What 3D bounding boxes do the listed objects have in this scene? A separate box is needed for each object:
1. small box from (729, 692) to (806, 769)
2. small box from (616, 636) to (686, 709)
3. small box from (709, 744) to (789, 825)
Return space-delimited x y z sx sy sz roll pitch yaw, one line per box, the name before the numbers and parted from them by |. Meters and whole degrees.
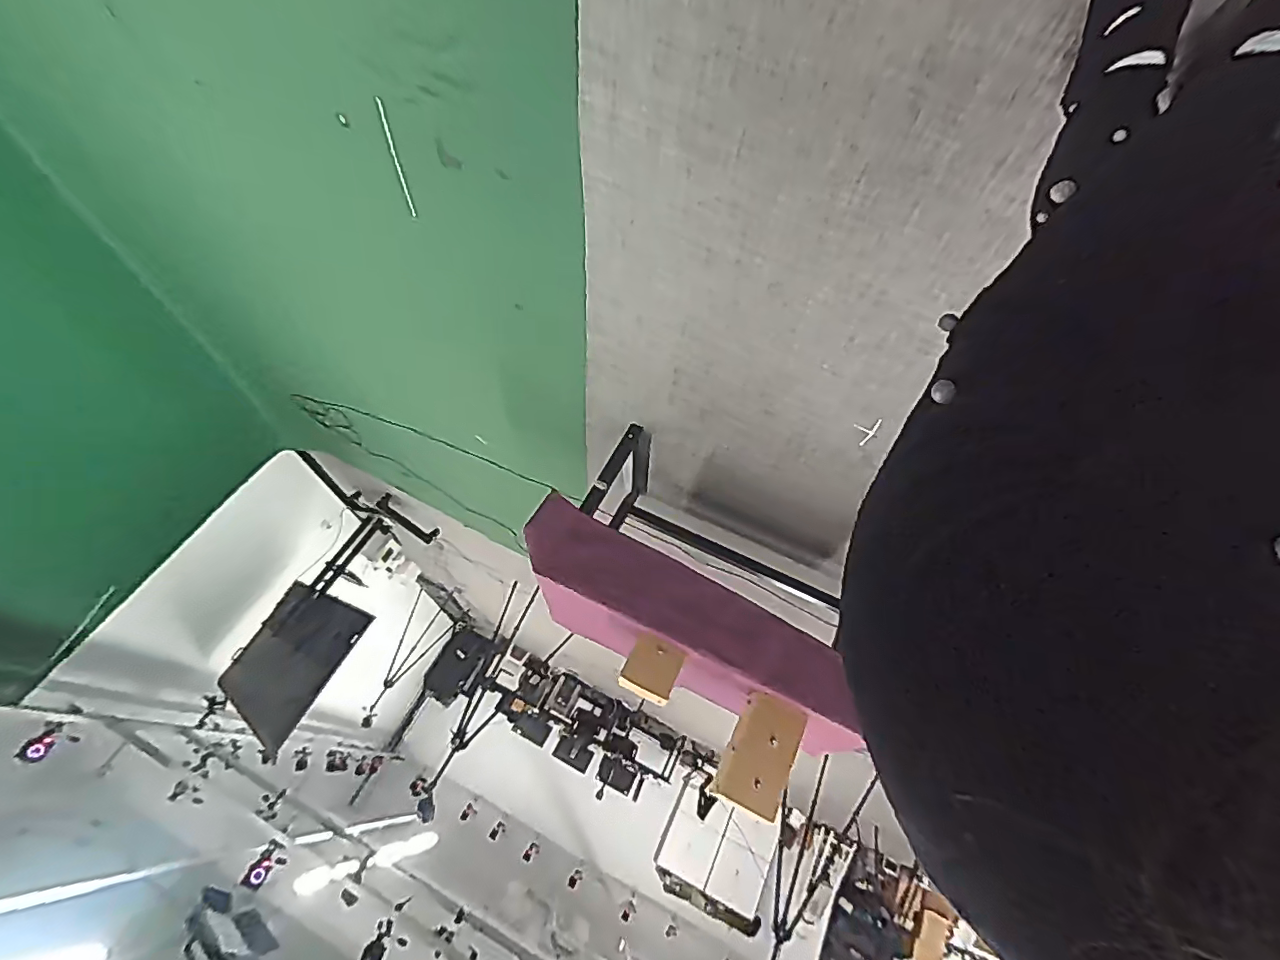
small box | 0.415 0.814 1.757 0.179 0.176 0.168 26 151 8
small box | 0.036 0.648 1.837 0.179 0.176 0.168 25 152 9
small box | 0.339 0.938 1.683 0.179 0.176 0.168 24 151 8
